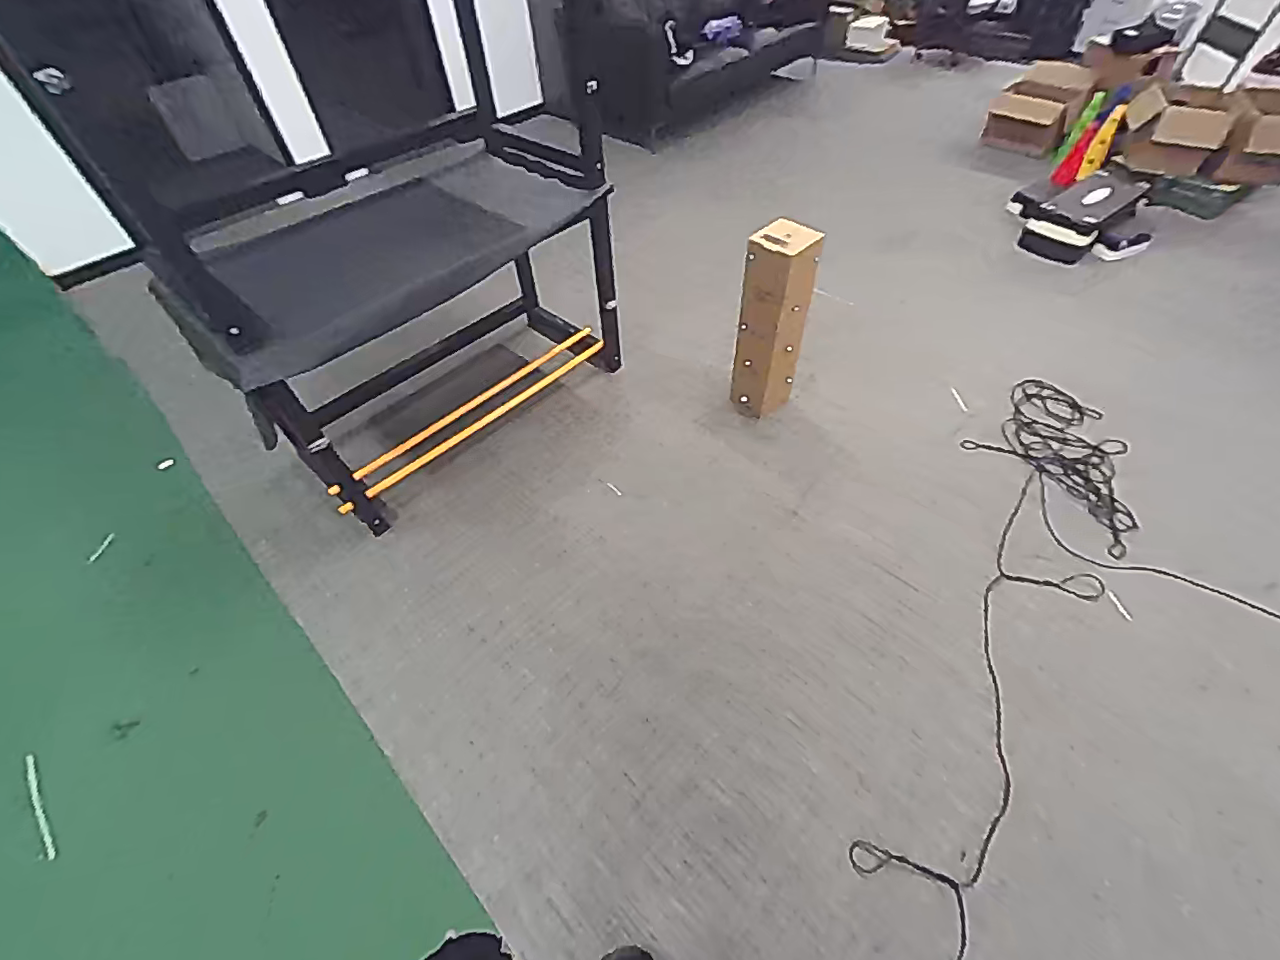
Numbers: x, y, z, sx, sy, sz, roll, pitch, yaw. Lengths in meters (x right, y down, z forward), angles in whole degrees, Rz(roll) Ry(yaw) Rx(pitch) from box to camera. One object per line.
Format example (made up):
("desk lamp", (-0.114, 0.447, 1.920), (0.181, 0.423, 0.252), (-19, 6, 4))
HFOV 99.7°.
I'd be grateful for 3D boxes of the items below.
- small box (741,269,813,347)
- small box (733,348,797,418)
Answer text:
("small box", (0.461, -0.582, 1.843), (0.179, 0.176, 0.168), (-37, 58, -24))
("small box", (0.476, -0.374, 2.093), (0.179, 0.176, 0.168), (-35, 56, -23))
